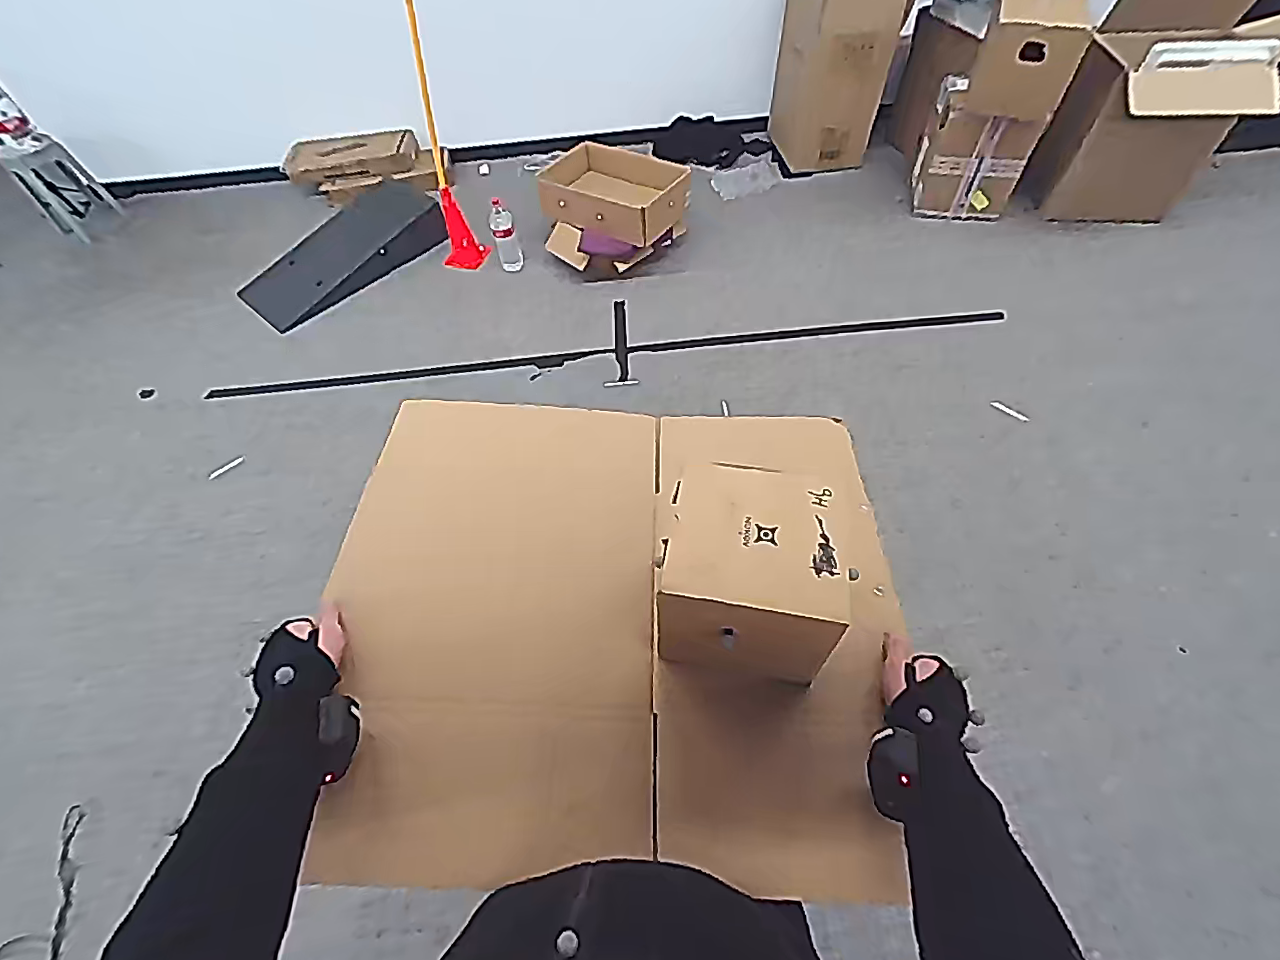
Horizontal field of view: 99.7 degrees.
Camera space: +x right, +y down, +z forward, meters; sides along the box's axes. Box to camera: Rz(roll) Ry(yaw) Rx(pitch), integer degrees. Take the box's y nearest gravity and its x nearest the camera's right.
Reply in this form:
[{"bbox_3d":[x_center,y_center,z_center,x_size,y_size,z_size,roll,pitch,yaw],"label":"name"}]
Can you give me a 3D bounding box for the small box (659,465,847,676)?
[{"bbox_3d":[0.122,0.105,0.610,0.179,0.176,0.168,7,53,9],"label":"small box"}]
